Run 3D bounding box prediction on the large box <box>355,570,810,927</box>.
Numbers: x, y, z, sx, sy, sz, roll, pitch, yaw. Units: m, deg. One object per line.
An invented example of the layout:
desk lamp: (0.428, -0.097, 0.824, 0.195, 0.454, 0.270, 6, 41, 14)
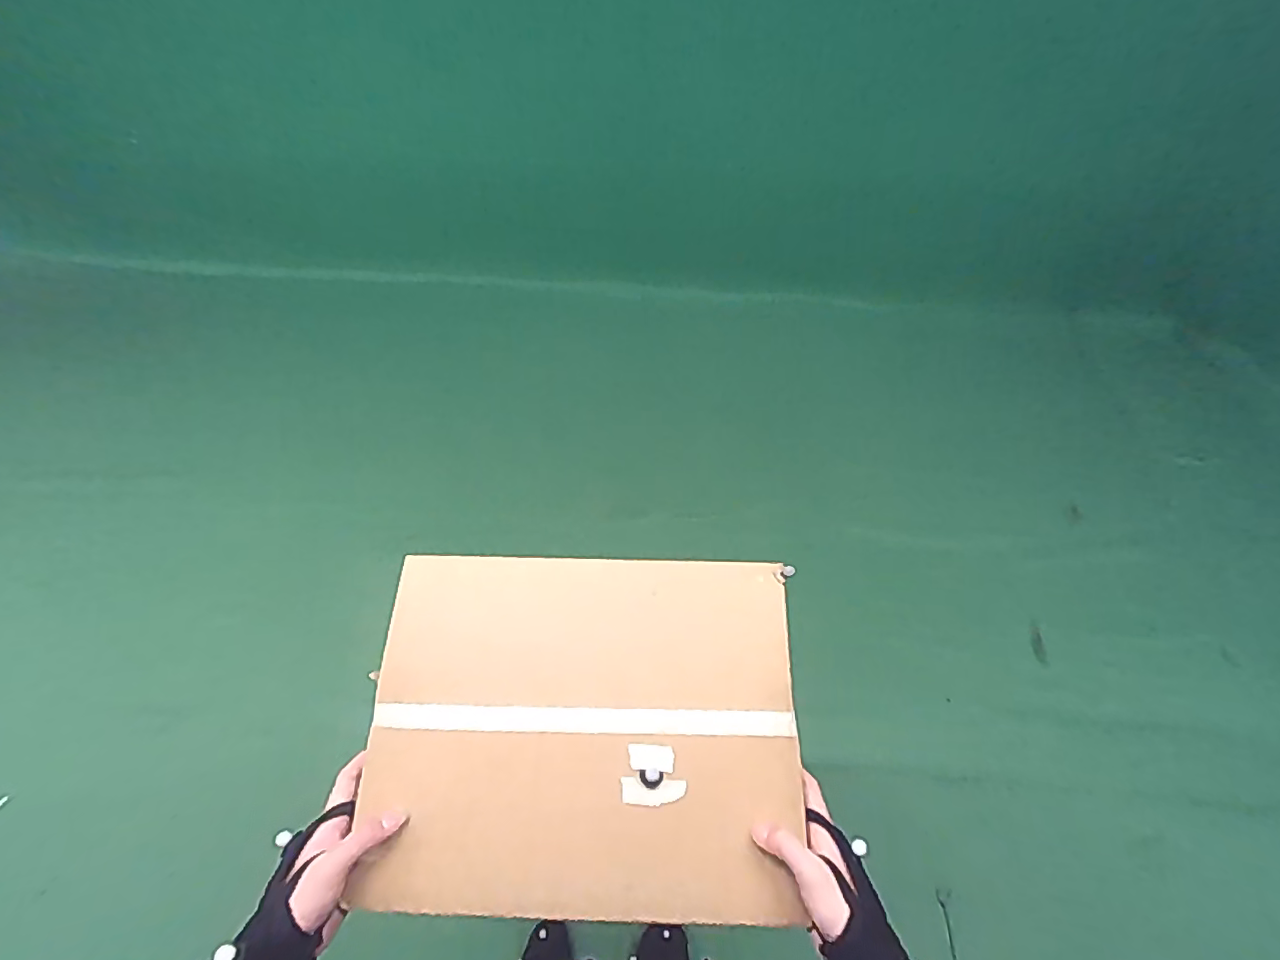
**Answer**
large box: (-0.052, 0.299, 0.660, 0.408, 0.320, 0.320, 0, 67, 0)
